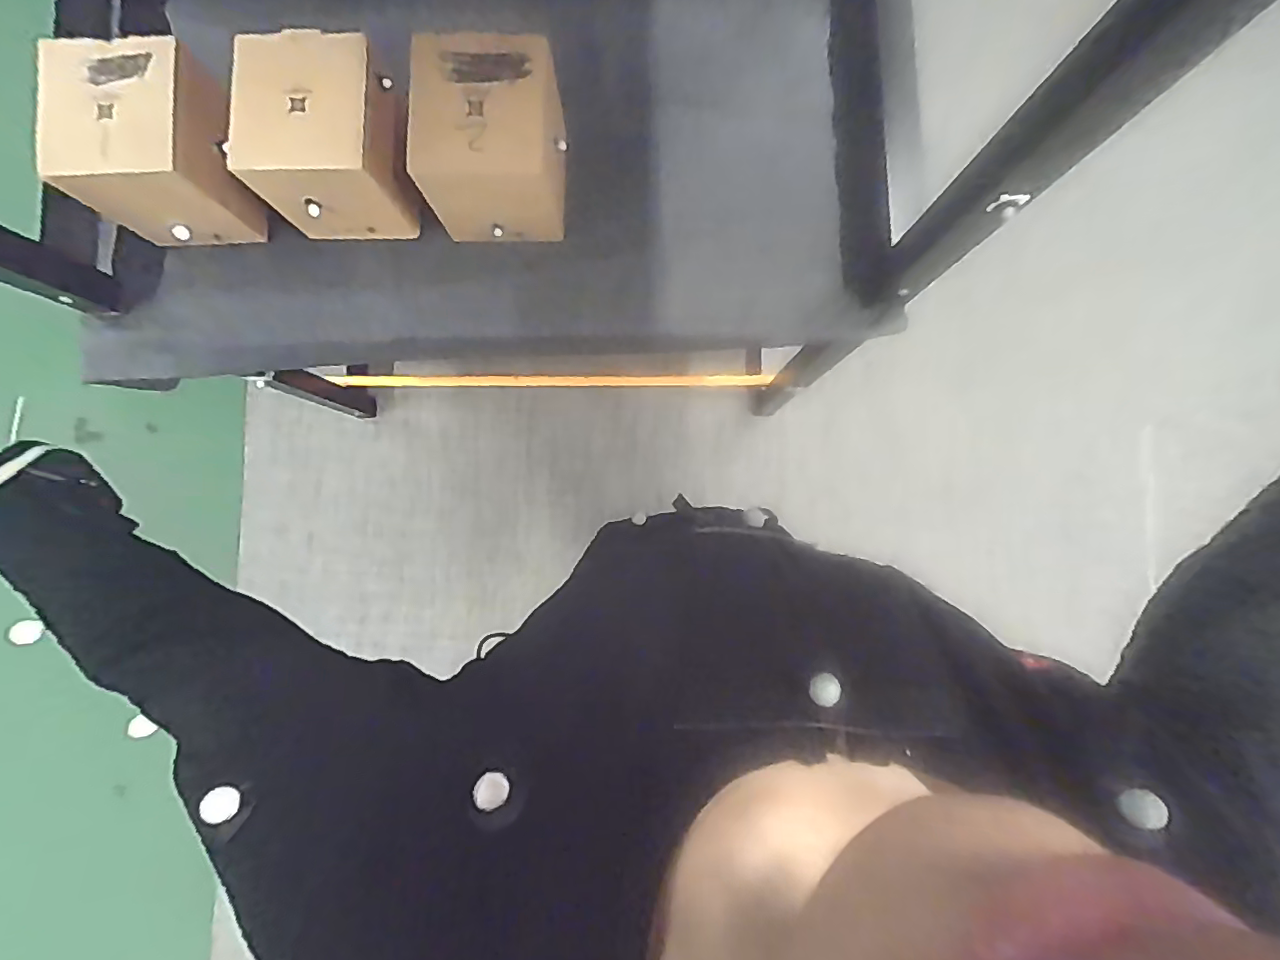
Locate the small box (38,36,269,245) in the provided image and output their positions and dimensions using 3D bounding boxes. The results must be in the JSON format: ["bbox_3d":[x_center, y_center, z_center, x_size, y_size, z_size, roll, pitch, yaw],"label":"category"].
[{"bbox_3d":[-0.633,-0.443,0.727,0.168,0.176,0.179,-2,86,0],"label":"small box"}]

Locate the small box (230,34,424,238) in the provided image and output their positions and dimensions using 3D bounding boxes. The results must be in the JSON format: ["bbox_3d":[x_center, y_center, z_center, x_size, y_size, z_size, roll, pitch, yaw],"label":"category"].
[{"bbox_3d":[-0.406,-0.448,0.729,0.168,0.176,0.179,0,85,0],"label":"small box"}]
